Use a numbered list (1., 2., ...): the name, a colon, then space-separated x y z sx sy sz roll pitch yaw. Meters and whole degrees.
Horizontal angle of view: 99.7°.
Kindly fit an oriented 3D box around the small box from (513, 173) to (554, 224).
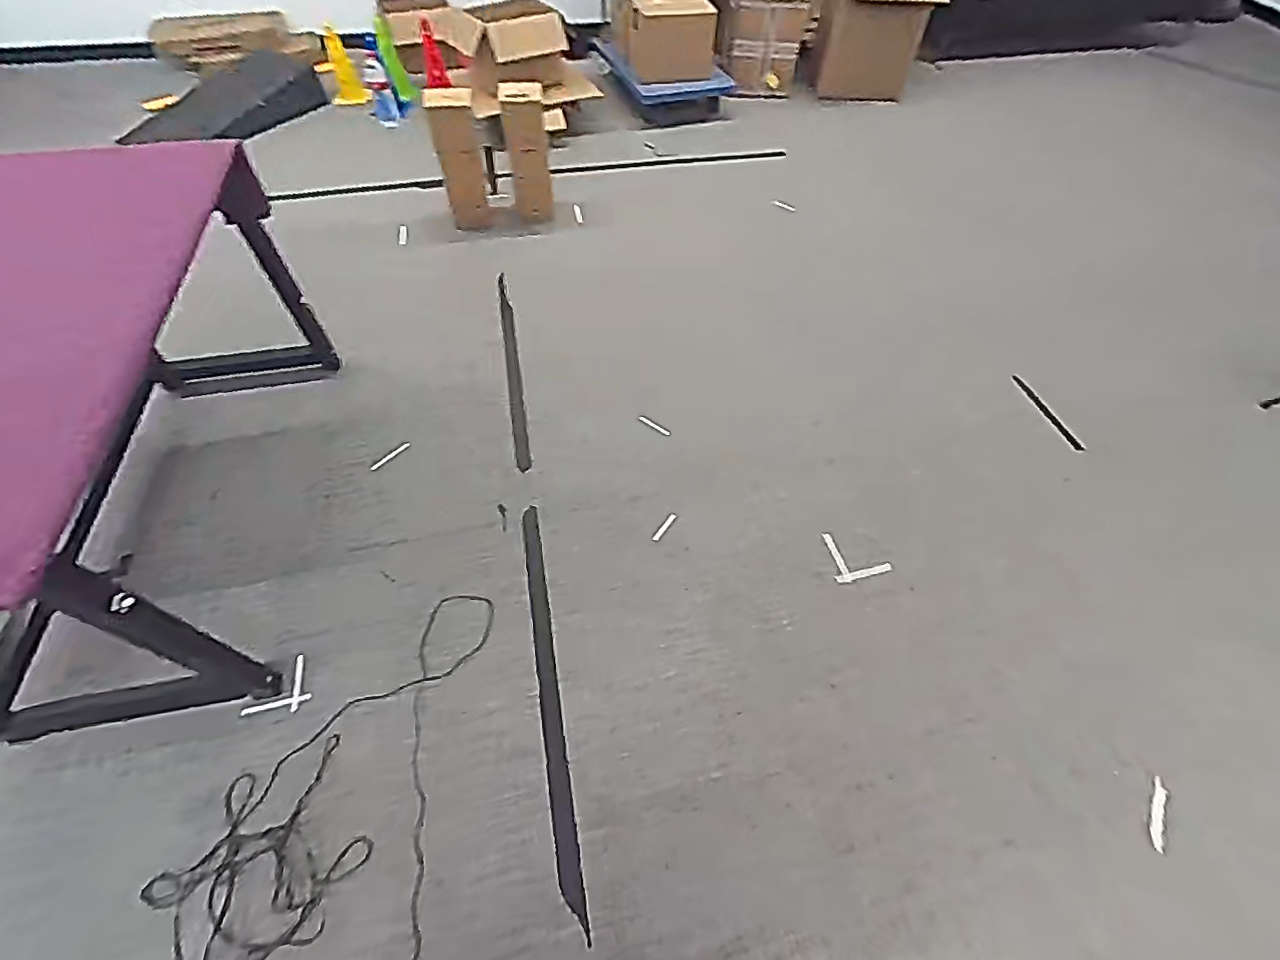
1. small box: -0.491 -1.311 2.507 0.179 0.176 0.168 -5 56 -7

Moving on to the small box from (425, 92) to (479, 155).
1. small box: -0.756 -1.437 2.184 0.179 0.176 0.168 -8 57 -11

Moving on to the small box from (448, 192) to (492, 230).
1. small box: -0.773 -1.255 2.455 0.168 0.176 0.179 -9 55 -10

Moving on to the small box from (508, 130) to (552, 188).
1. small box: -0.481 -1.401 2.369 0.168 0.176 0.179 -6 55 -7

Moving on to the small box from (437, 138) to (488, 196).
1. small box: -0.761 -1.342 2.318 0.179 0.176 0.168 -9 56 -10
